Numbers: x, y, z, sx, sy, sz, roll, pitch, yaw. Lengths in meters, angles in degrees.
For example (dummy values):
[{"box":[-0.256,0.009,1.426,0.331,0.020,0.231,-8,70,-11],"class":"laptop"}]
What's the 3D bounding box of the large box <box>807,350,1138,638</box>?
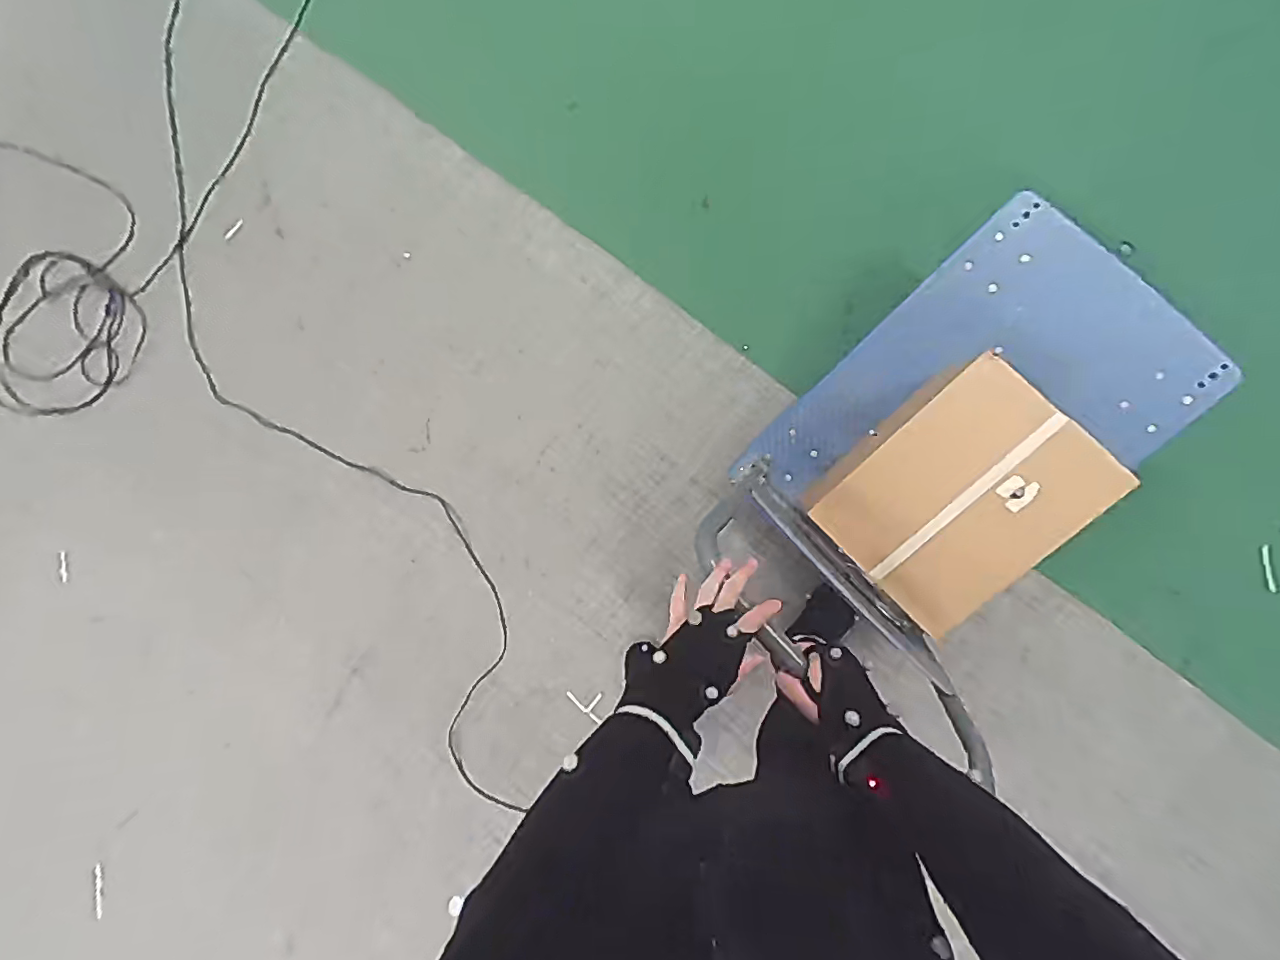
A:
[{"box":[0.585,0.025,1.056,0.408,0.320,0.320,-45,83,12],"class":"large box"}]
